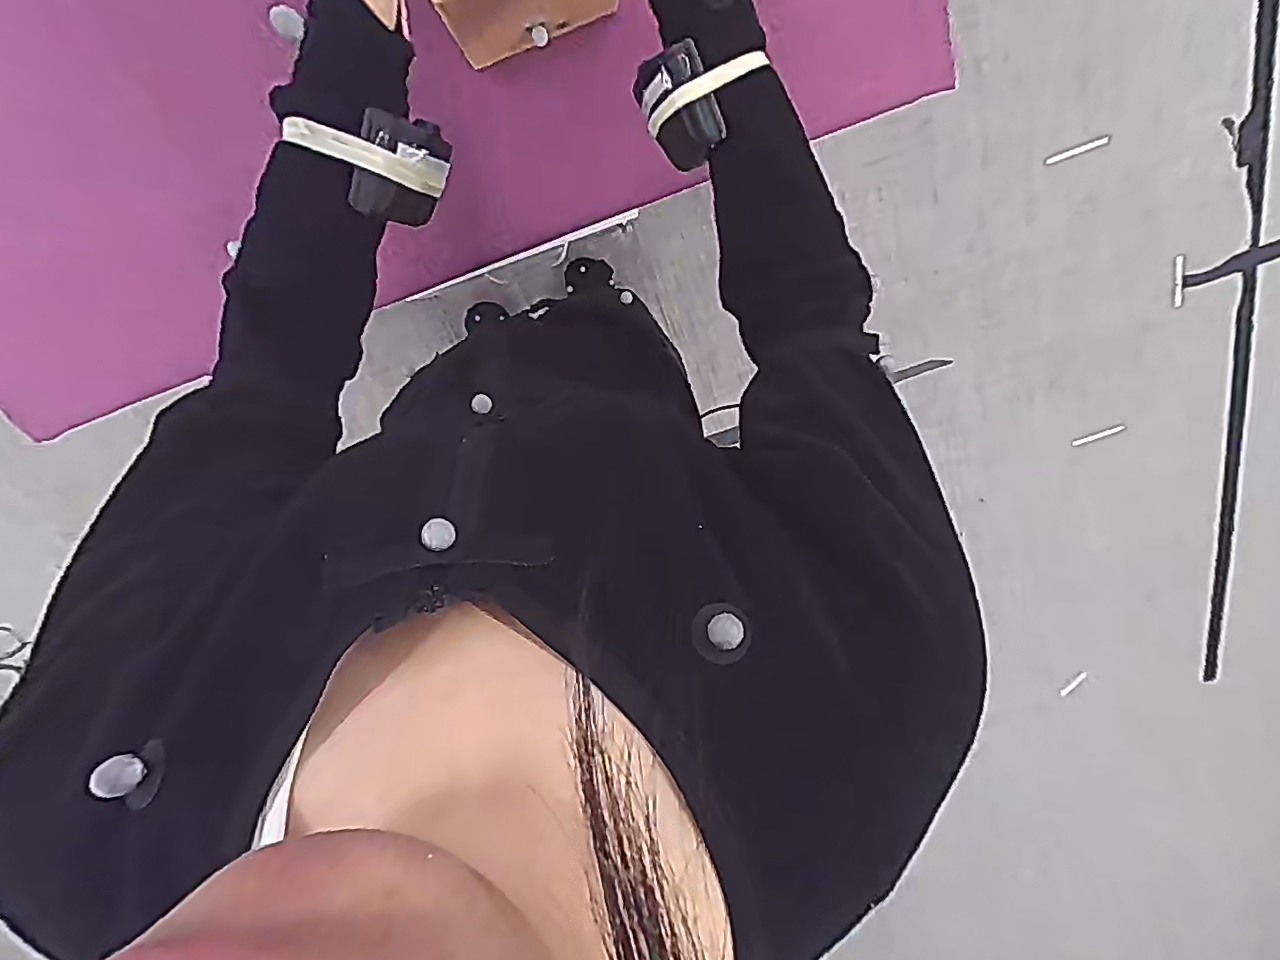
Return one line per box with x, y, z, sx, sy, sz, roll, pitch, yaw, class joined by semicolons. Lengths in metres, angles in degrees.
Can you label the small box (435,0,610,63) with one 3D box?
-0.125;-0.511;0.466;0.168;0.176;0.179;-20;114;4;small box
